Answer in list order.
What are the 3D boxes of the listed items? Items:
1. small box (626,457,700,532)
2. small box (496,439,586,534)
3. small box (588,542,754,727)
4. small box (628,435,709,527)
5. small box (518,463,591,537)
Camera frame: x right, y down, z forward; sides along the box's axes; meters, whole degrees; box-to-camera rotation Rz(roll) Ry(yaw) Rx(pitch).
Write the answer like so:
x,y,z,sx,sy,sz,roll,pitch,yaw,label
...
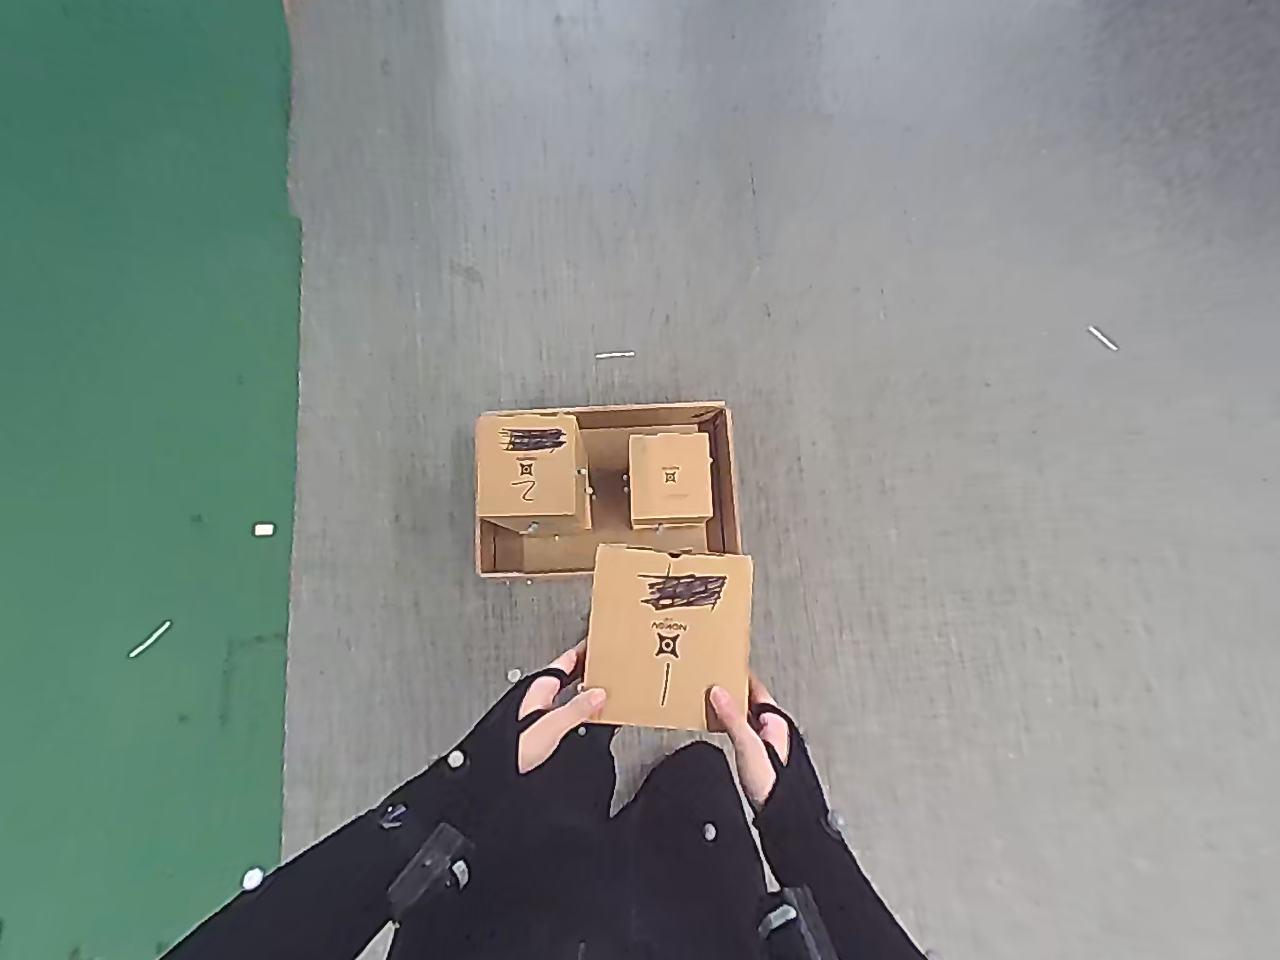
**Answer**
x,y,z,sx,sy,sz,roll,pitch,yaw,label
0.053,0.038,1.339,0.168,0.176,0.179,-3,80,-3,small box
-0.205,0.019,1.164,0.168,0.176,0.179,1,79,-2,small box
0.032,0.175,0.637,0.168,0.176,0.179,4,78,0,small box
0.056,0.007,1.179,0.168,0.176,0.179,-1,81,-1,small box
-0.208,0.049,1.326,0.168,0.176,0.179,-4,81,-5,small box
